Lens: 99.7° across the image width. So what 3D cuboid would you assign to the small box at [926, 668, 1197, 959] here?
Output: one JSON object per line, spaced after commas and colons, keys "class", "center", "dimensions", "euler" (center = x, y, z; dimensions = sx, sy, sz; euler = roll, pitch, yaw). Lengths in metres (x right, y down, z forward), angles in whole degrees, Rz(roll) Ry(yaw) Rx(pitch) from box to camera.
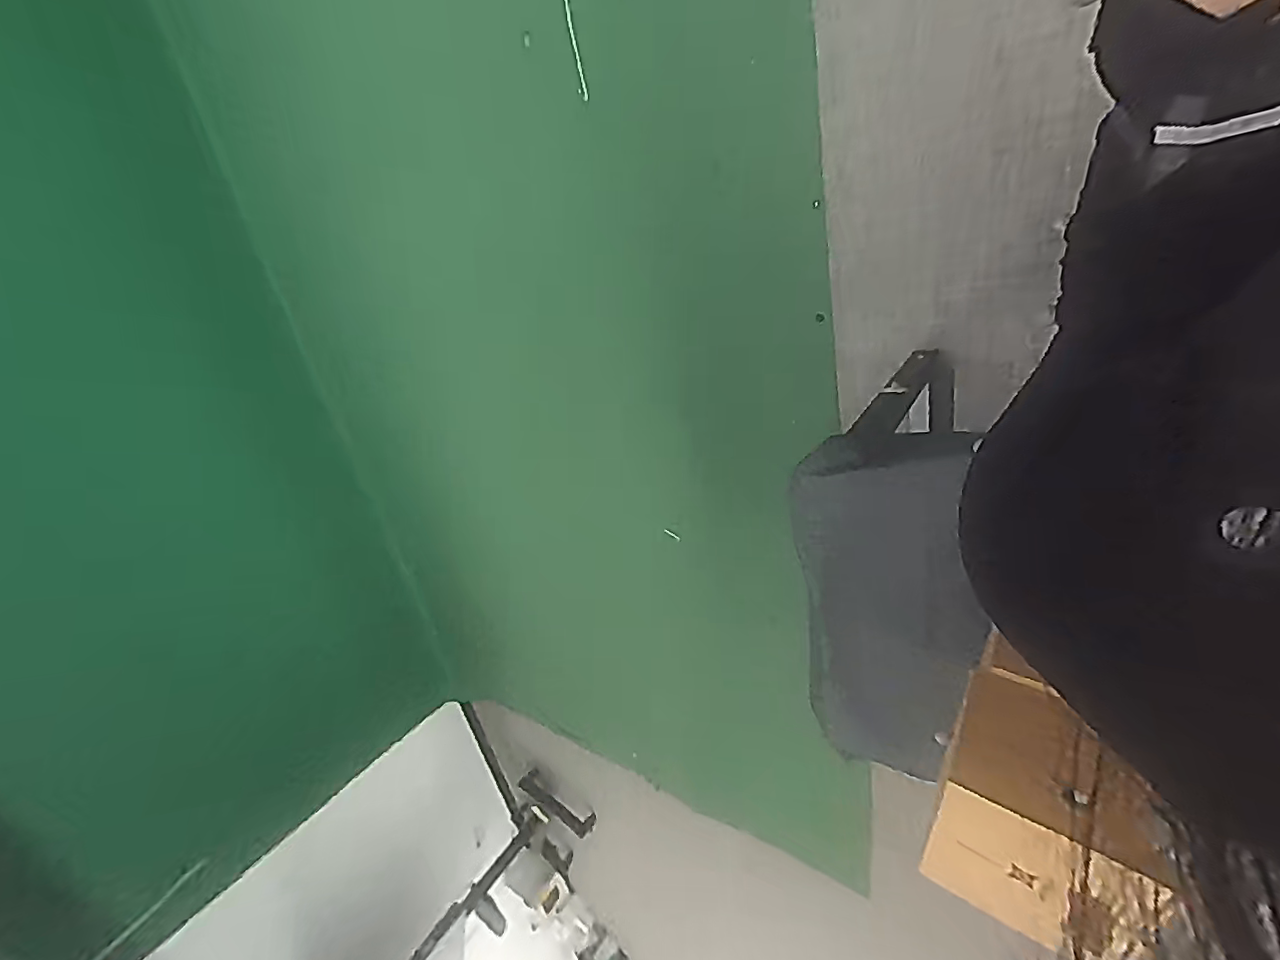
{"class": "small box", "center": [0.429, 0.334, 0.572], "dimensions": [0.179, 0.176, 0.168], "euler": [16, 124, 33]}
